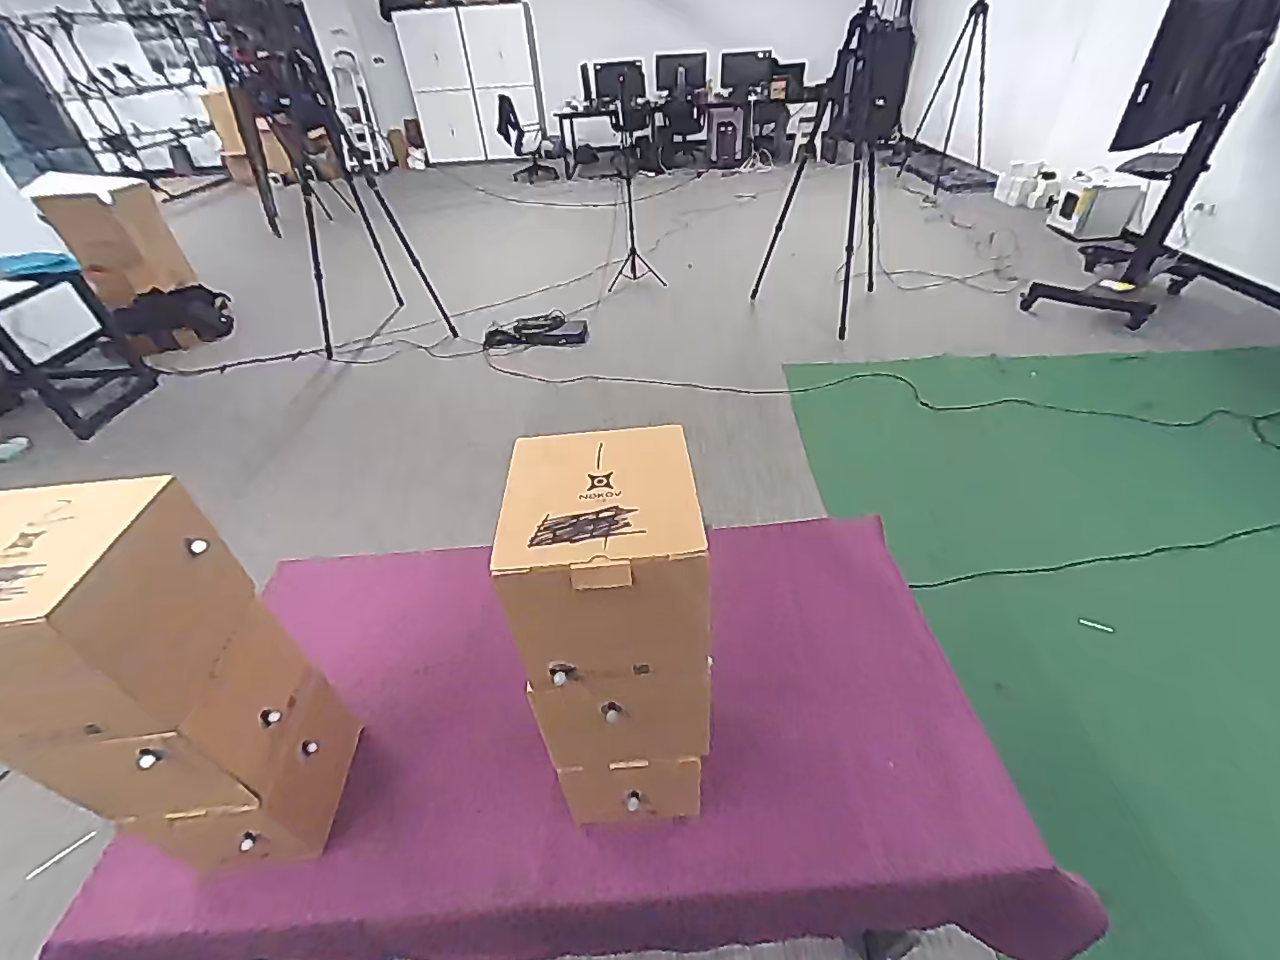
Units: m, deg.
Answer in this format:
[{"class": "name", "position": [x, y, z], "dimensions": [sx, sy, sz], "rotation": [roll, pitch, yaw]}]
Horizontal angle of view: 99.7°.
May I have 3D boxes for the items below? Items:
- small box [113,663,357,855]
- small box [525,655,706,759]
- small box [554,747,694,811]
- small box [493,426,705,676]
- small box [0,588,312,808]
[{"class": "small box", "position": [-0.503, 0.369, 0.712], "dimensions": [0.168, 0.176, 0.179], "rotation": [-4, 39, -2]}, {"class": "small box", "position": [-0.021, 0.200, 0.619], "dimensions": [0.179, 0.176, 0.168], "rotation": [-4, 40, 0]}, {"class": "small box", "position": [-0.016, 0.325, 0.727], "dimensions": [0.168, 0.176, 0.179], "rotation": [-3, 41, 0]}, {"class": "small box", "position": [-0.029, 0.071, 0.517], "dimensions": [0.168, 0.176, 0.179], "rotation": [-4, 39, -1]}, {"class": "small box", "position": [-0.515, 0.245, 0.608], "dimensions": [0.179, 0.176, 0.168], "rotation": [-5, 40, -4]}]
